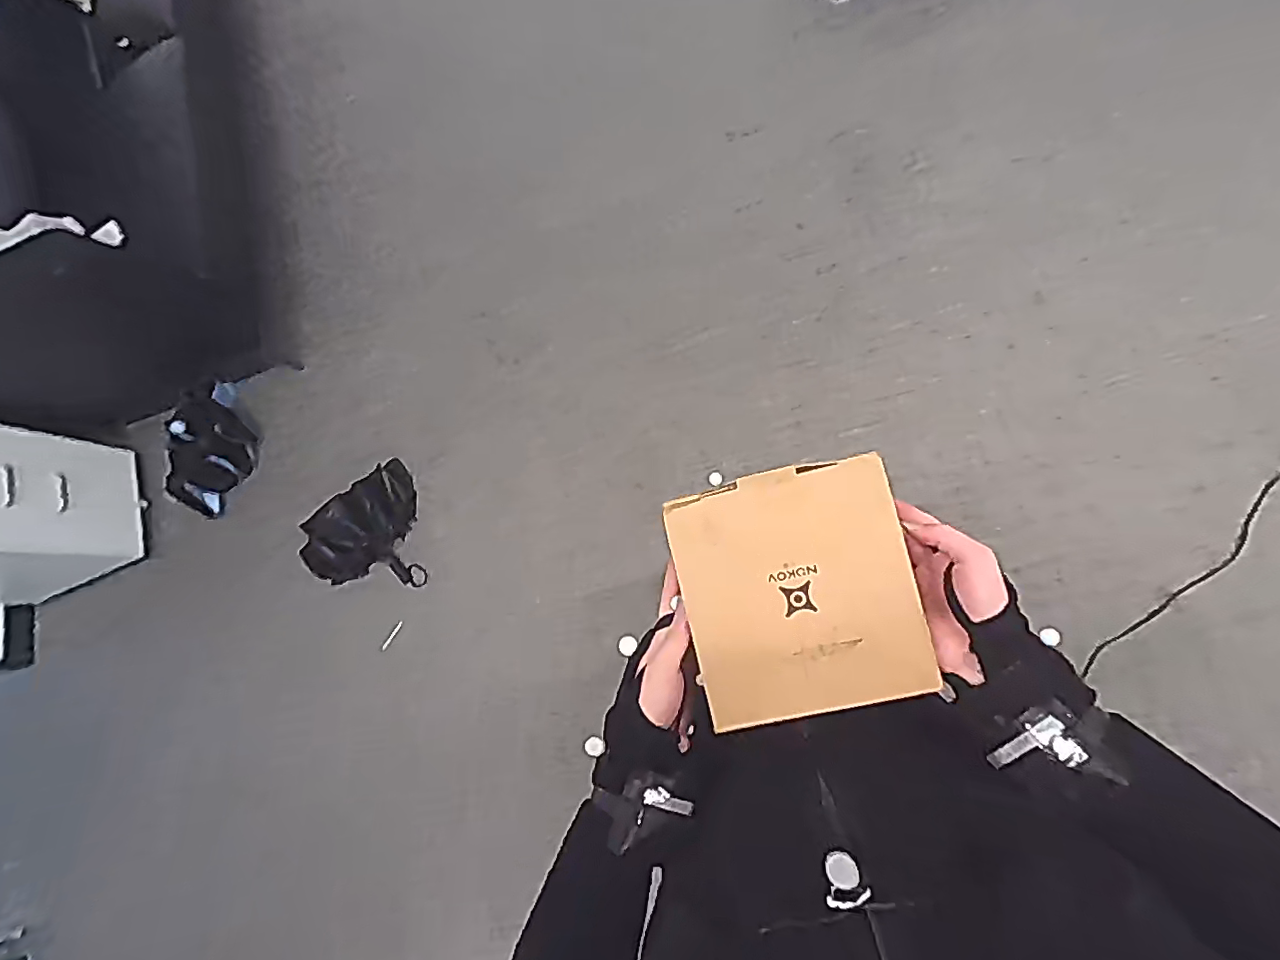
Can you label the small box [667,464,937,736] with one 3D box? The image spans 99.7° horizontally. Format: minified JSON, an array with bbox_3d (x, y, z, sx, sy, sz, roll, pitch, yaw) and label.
[{"bbox_3d":[0.125,0.091,0.475,0.168,0.176,0.179,-13,88,8],"label":"small box"}]
